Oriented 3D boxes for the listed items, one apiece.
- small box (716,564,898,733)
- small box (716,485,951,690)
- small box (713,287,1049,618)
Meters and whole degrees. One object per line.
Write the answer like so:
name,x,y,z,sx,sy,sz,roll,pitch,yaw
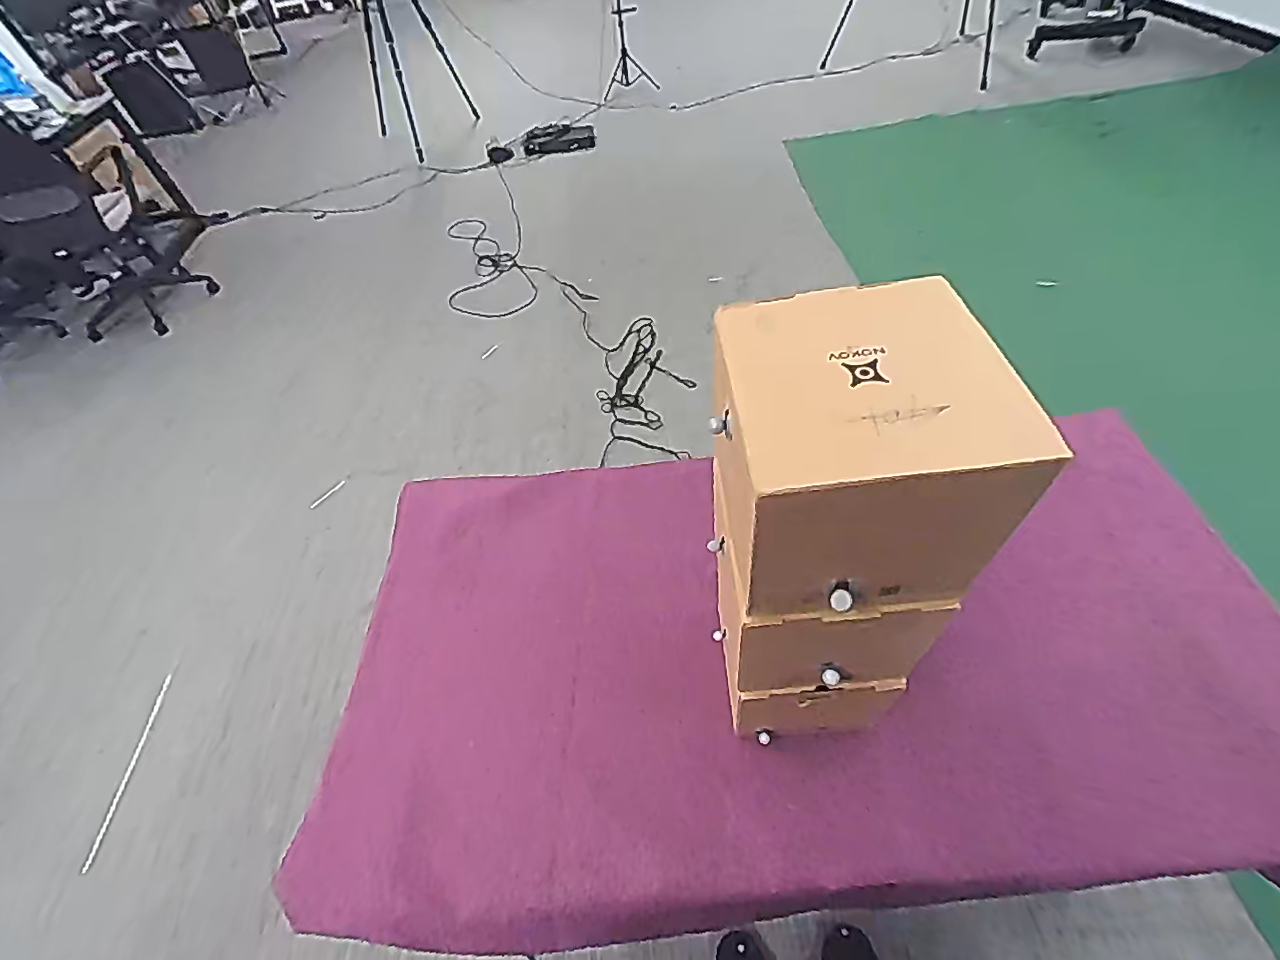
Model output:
small box,0.186,0.196,0.655,0.168,0.176,0.179,-6,51,4
small box,0.165,0.088,0.533,0.168,0.176,0.179,-6,51,4
small box,0.145,-0.016,0.409,0.168,0.176,0.179,-7,51,4
